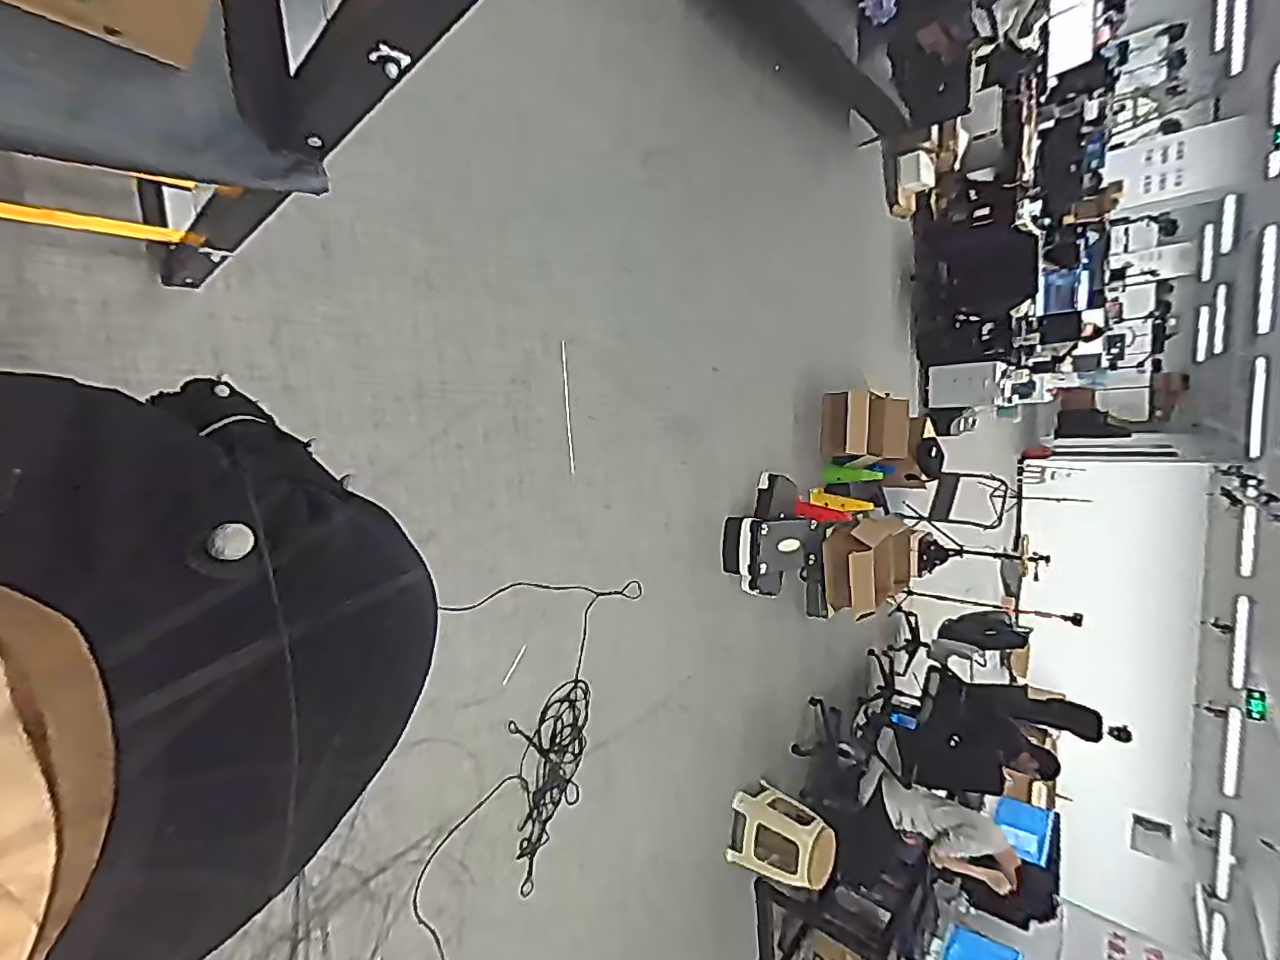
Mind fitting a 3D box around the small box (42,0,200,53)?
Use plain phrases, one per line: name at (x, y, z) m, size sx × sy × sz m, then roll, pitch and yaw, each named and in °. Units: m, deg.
small box at (-0.501, -0.537, 0.478) m, size 0.168 × 0.176 × 0.179 m, roll -6°, pitch 96°, yaw -49°
